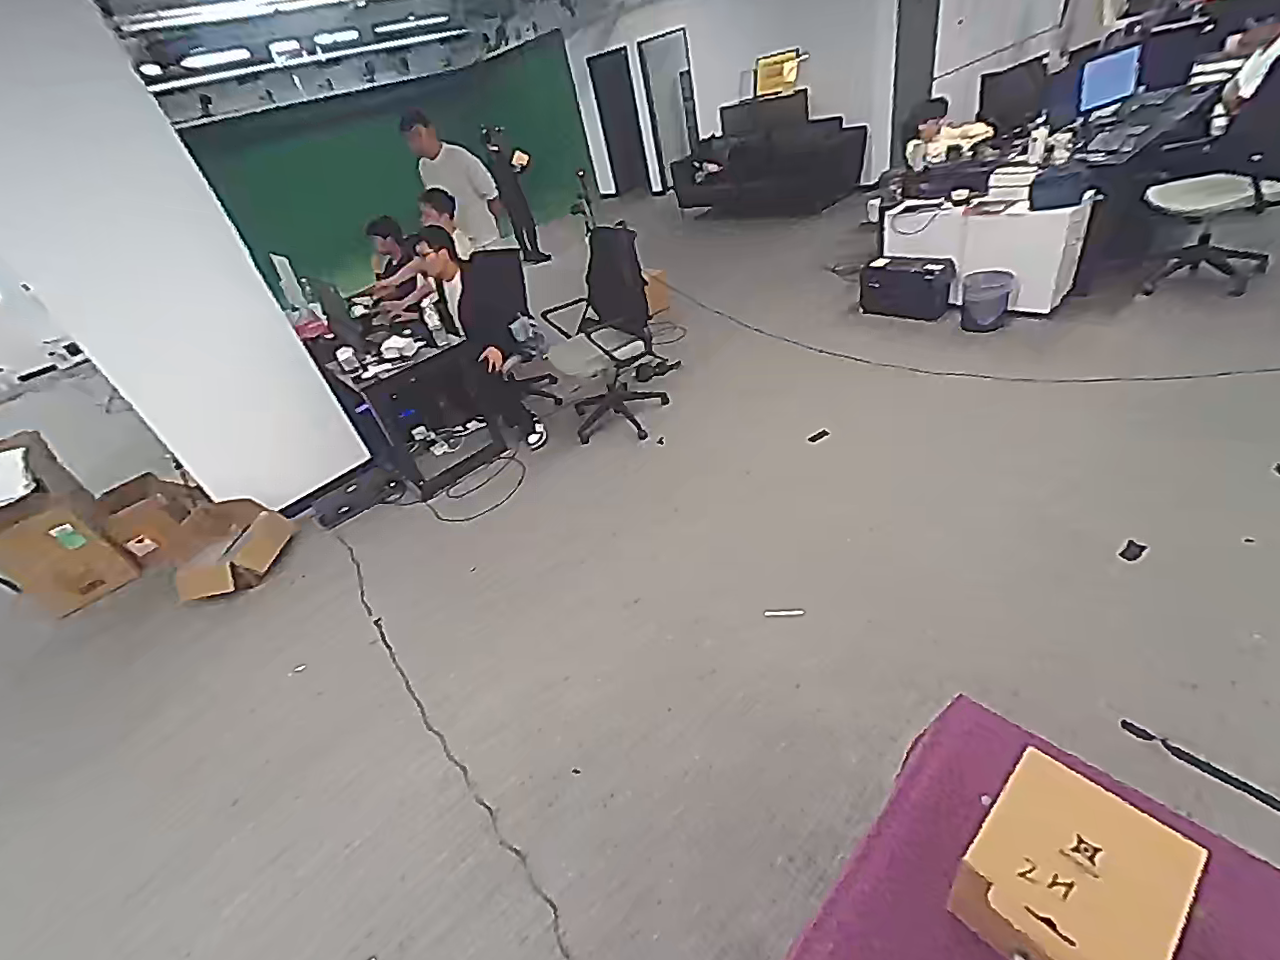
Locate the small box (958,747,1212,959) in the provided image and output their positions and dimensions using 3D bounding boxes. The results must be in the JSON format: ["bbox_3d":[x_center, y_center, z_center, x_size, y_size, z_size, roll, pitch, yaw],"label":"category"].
[{"bbox_3d":[0.493,0.462,0.622,0.179,0.176,0.168,-36,40,-25],"label":"small box"}]
